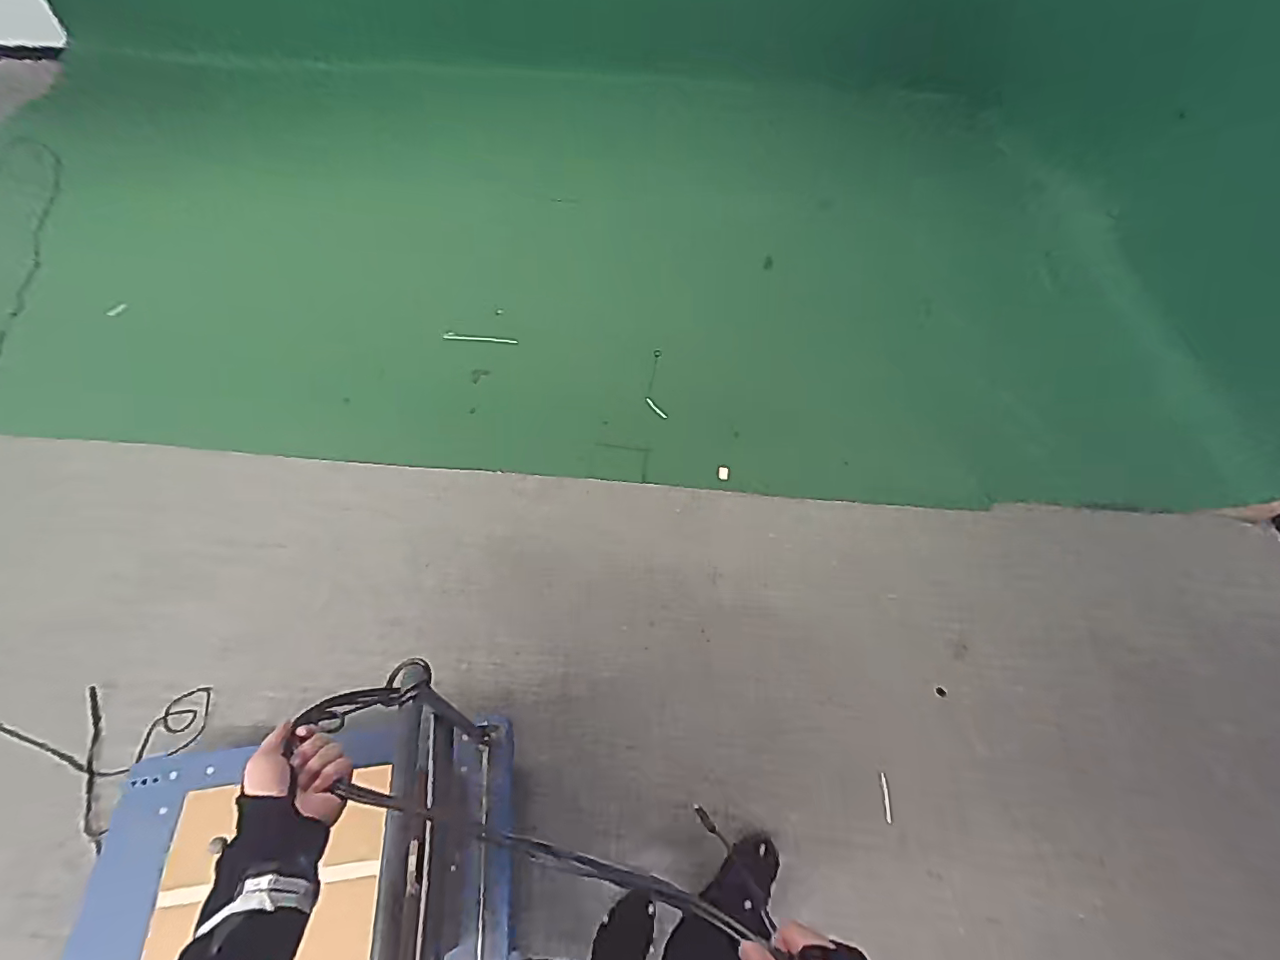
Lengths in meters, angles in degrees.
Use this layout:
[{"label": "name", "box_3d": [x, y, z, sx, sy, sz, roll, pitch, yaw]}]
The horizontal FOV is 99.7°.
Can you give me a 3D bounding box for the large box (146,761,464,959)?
[{"label": "large box", "box_3d": [-0.573, 0.739, 1.013, 0.408, 0.320, 0.320, -6, 57, -3]}]
